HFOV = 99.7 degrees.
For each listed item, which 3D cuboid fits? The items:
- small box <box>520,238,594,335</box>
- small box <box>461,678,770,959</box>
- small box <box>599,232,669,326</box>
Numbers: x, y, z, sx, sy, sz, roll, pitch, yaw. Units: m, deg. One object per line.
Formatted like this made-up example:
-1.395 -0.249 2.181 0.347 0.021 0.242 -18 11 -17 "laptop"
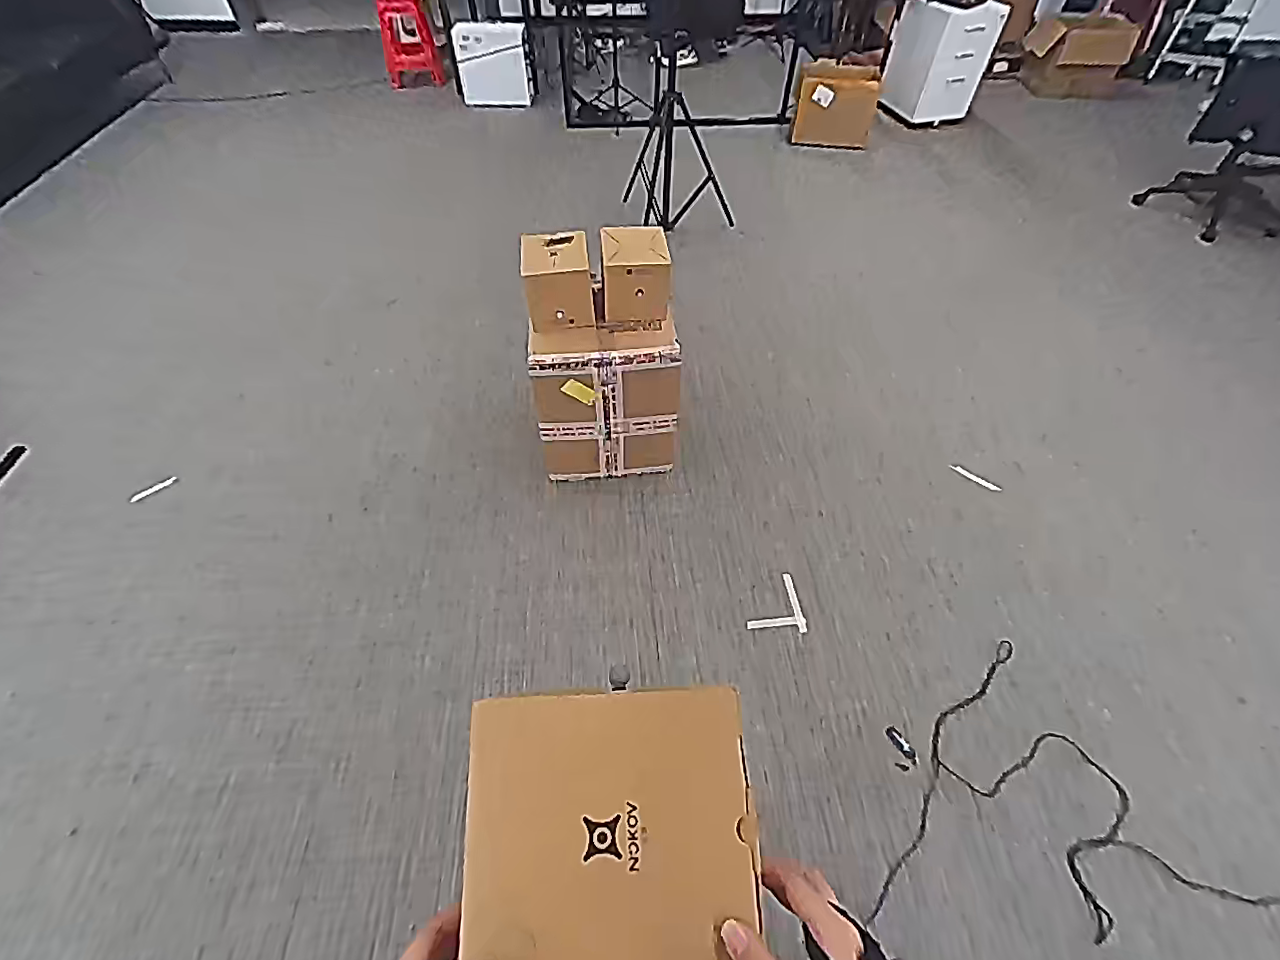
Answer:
-0.213 -0.501 1.406 0.168 0.176 0.179 -7 54 -2 "small box"
-0.017 0.241 0.401 0.179 0.176 0.168 -3 69 -2 "small box"
-0.020 -0.530 1.425 0.168 0.176 0.179 -3 53 -7 "small box"
